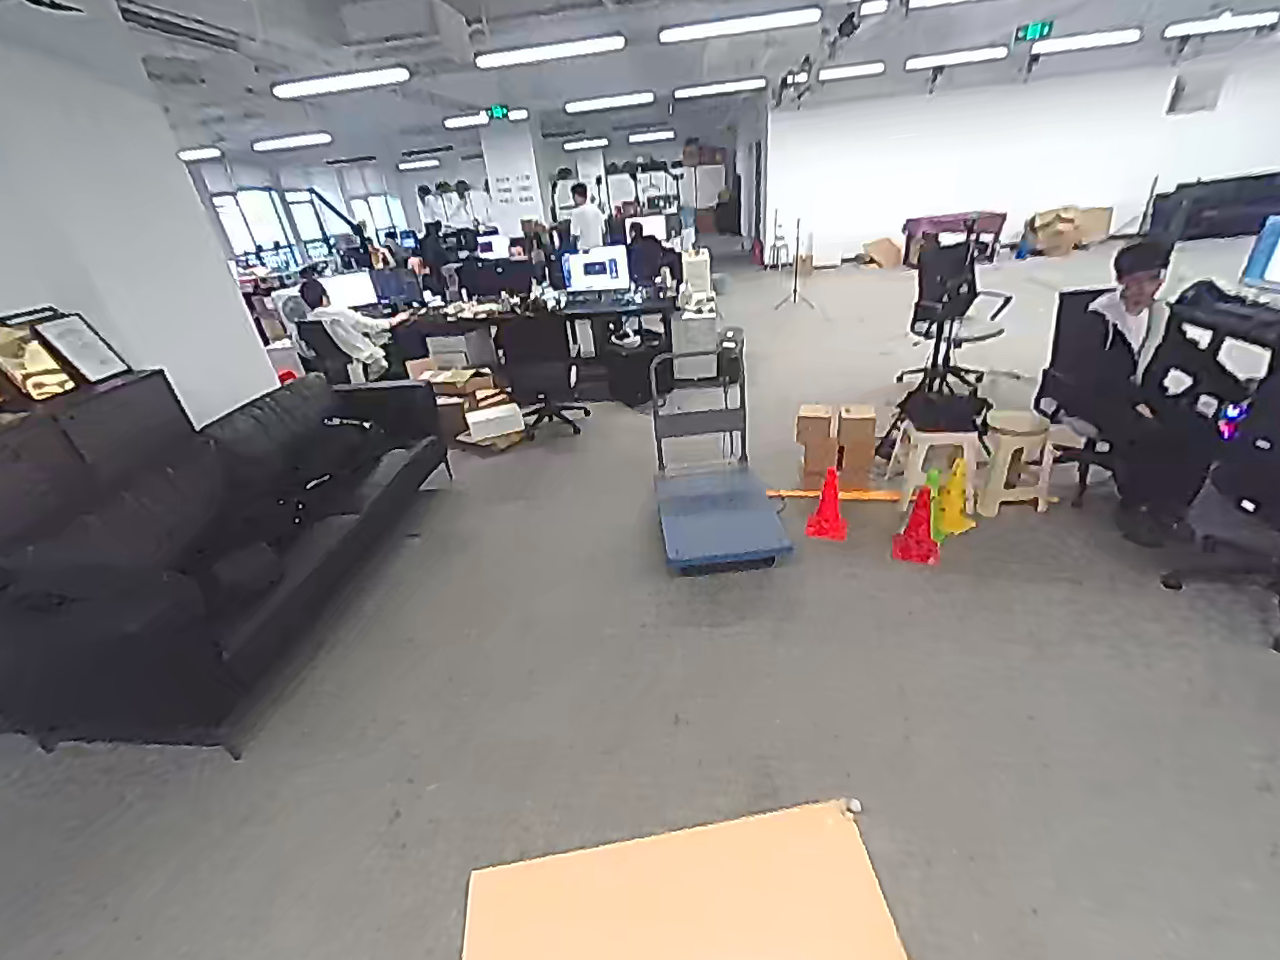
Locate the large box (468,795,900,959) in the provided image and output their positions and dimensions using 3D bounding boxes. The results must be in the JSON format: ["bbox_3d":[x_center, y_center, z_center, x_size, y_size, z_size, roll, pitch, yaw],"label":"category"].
[{"bbox_3d":[0.056,0.590,0.562,0.408,0.320,0.320,-10,41,-4],"label":"large box"}]
